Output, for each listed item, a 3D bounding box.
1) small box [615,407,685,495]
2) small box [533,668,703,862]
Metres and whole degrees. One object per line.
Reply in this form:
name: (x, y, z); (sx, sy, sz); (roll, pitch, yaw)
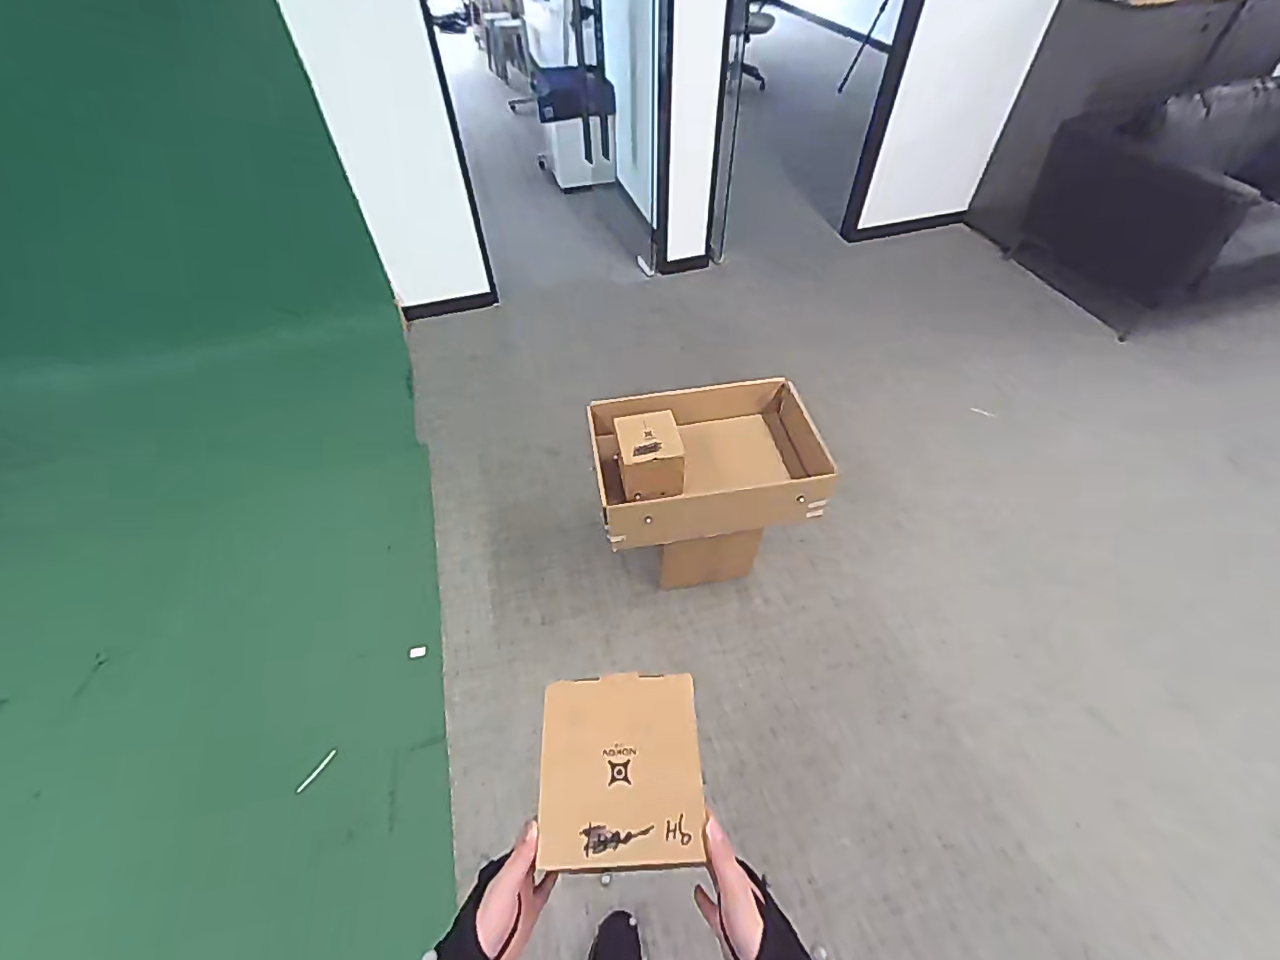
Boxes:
small box: (0.029, -0.074, 1.502); (0.168, 0.176, 0.179); (-9, 51, -5)
small box: (-0.018, 0.335, 0.630); (0.168, 0.176, 0.179); (-5, 54, 3)
